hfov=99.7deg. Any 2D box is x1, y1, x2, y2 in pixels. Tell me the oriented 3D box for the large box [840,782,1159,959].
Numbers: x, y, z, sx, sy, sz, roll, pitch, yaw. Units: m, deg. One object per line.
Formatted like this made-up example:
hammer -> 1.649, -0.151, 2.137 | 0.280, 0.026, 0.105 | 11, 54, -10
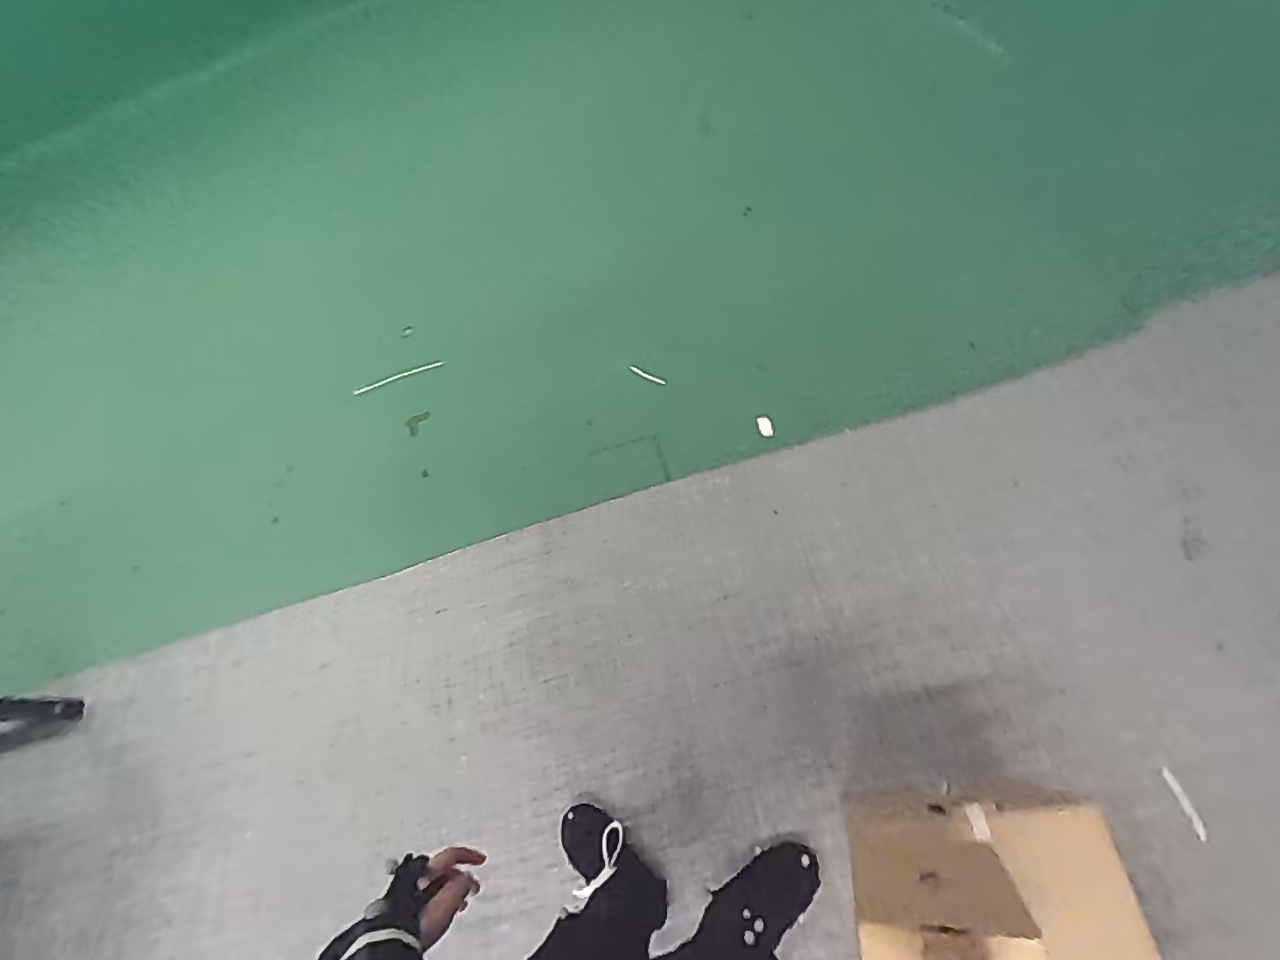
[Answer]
large box -> 0.526, 0.710, 0.803 | 0.320, 0.320, 0.408 | -12, 65, 9
